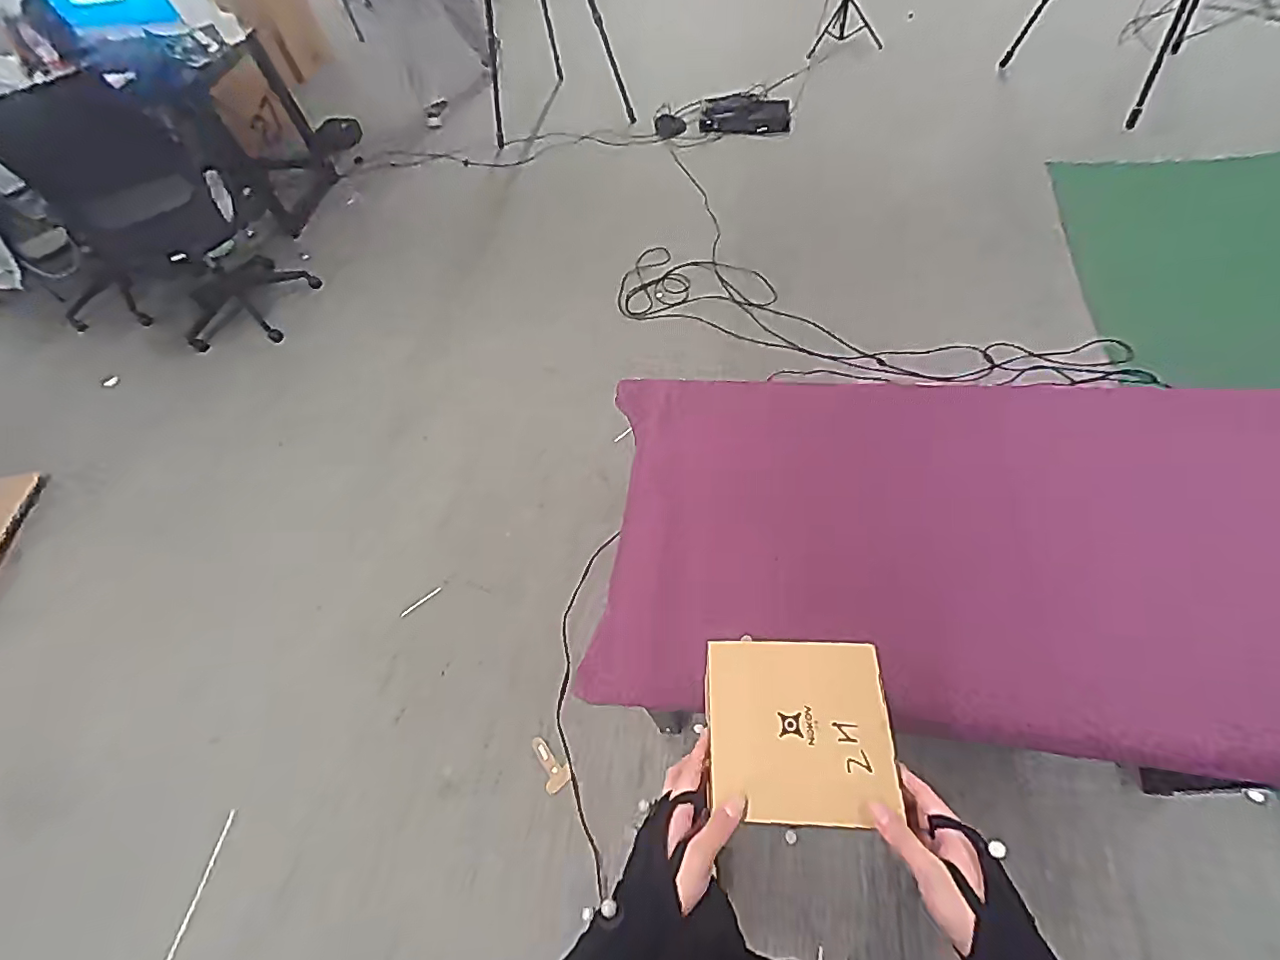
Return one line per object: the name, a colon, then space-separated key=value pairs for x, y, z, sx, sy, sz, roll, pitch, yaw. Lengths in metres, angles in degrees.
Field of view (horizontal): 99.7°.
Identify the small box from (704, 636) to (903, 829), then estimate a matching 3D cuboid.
small box: x=0.159 y=0.279 z=0.593 sx=0.179 sy=0.176 sz=0.168 roll=1 pitch=58 yaw=6
